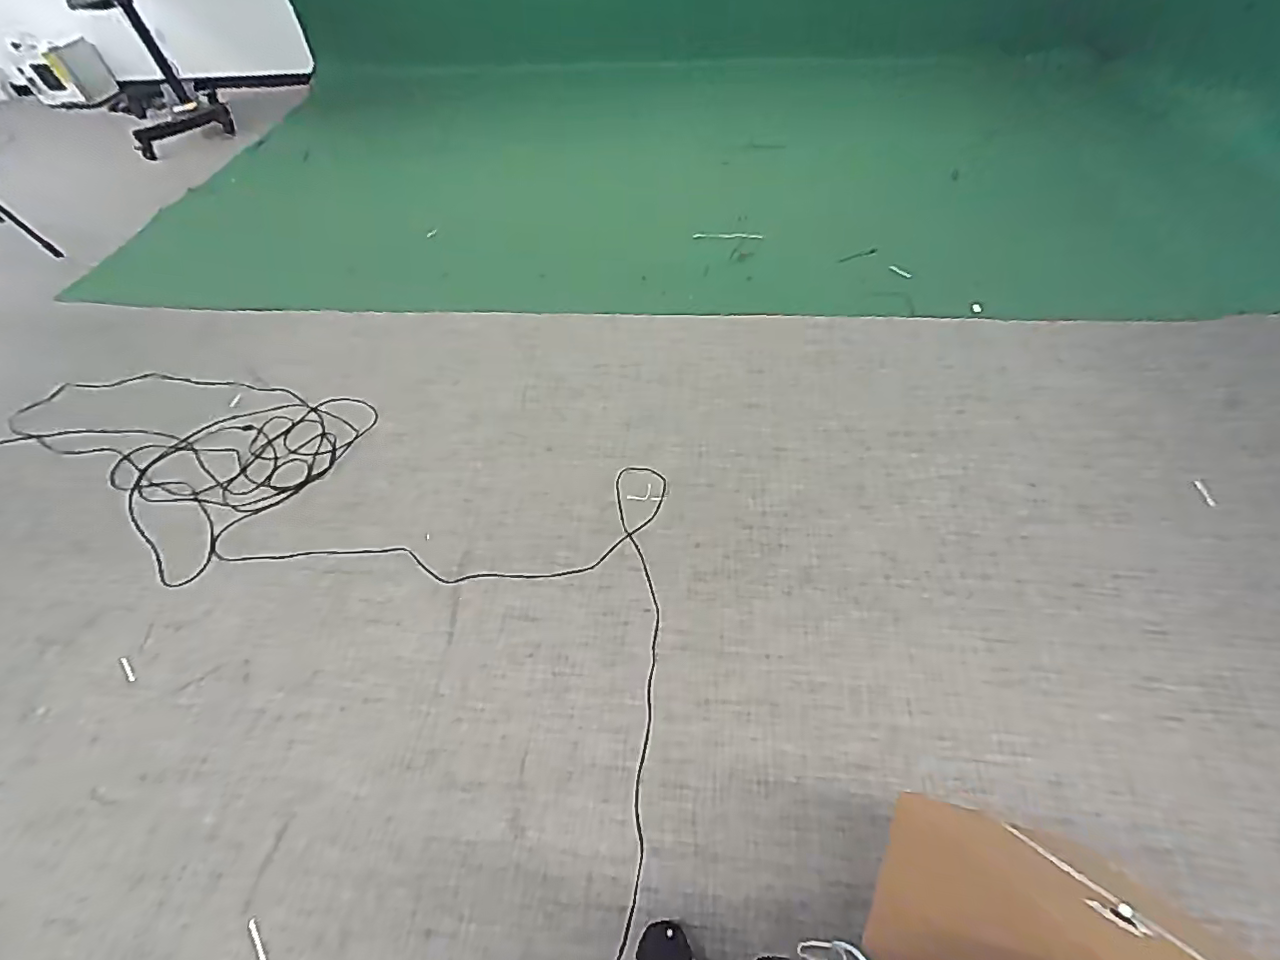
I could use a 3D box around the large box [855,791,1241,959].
[{"bbox_3d":[0.506,0.650,0.628,0.320,0.408,0.320,19,82,-2],"label":"large box"}]
